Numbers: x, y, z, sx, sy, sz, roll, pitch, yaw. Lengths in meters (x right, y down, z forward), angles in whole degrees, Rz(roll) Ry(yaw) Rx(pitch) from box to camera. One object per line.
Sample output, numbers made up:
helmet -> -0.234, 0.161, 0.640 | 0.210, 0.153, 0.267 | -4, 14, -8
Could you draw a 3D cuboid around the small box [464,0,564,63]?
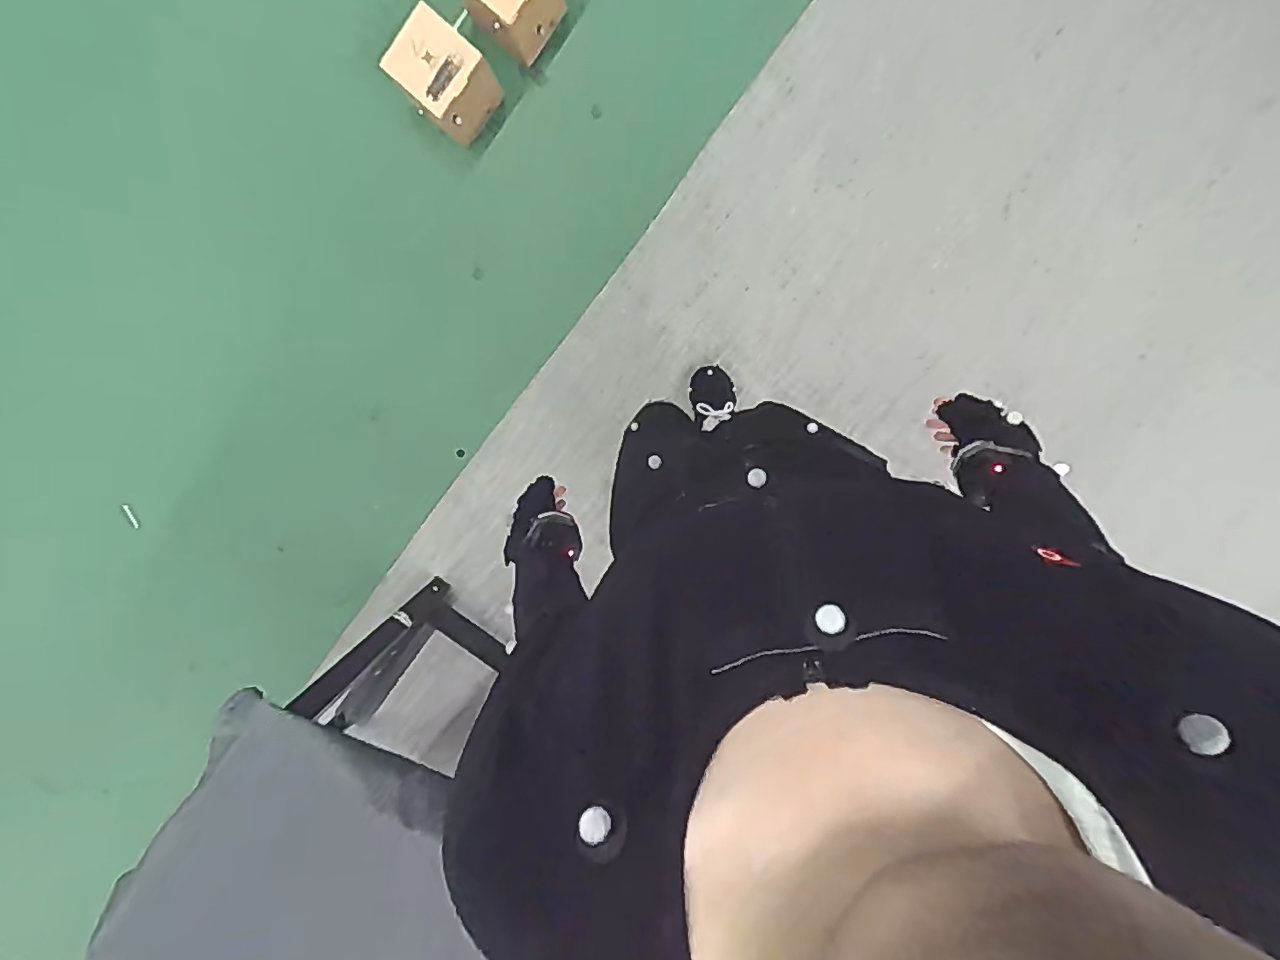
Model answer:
small box -> -0.297, -1.113, 1.229 | 0.179, 0.176, 0.168 | 38, 99, -6
